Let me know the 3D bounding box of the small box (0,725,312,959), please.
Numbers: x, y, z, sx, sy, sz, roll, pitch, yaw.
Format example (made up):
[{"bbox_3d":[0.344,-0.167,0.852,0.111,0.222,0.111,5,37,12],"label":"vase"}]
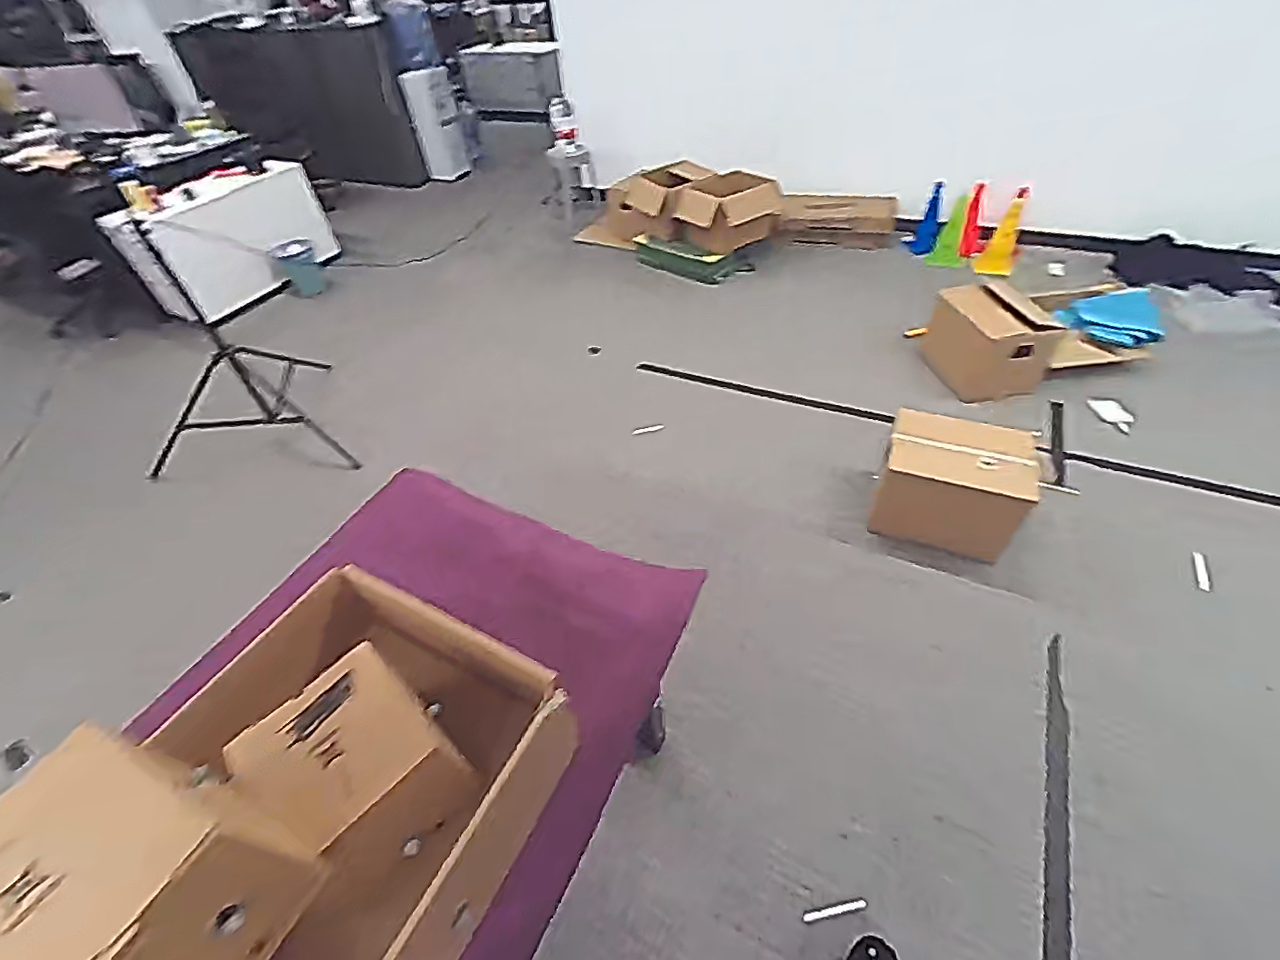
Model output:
[{"bbox_3d":[-0.400,0.325,0.408,0.179,0.176,0.168,16,49,22],"label":"small box"}]

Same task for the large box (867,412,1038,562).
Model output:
[{"bbox_3d":[1.003,0.019,1.781,0.408,0.320,0.320,15,50,18],"label":"large box"}]
